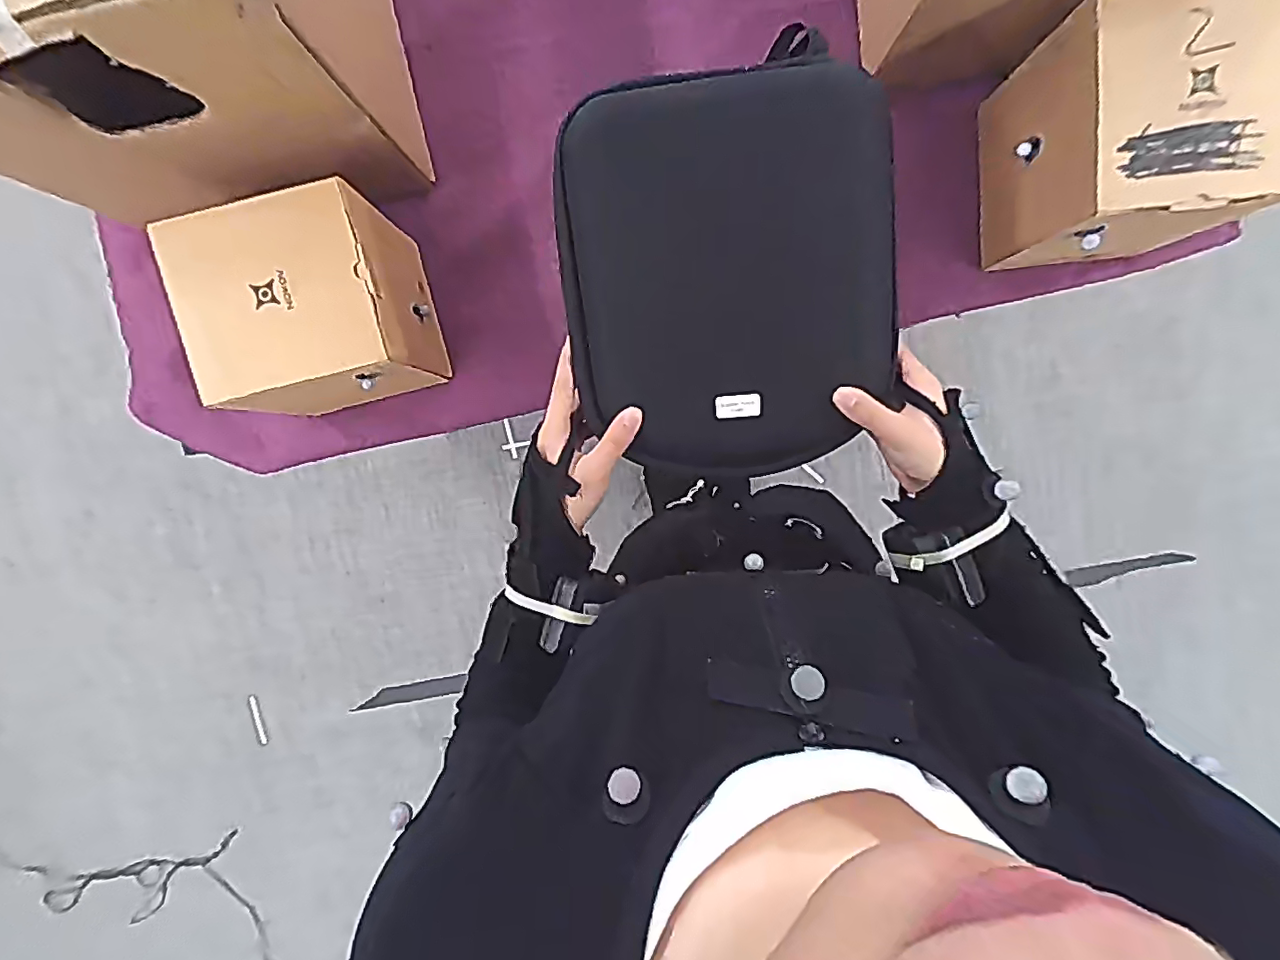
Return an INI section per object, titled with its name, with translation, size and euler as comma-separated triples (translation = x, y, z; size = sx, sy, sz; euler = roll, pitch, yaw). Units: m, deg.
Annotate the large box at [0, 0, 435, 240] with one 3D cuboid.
[large box]
translation = -0.426, -0.485, 0.466
size = 0.320, 0.320, 0.408
euler = -13, 98, 2
